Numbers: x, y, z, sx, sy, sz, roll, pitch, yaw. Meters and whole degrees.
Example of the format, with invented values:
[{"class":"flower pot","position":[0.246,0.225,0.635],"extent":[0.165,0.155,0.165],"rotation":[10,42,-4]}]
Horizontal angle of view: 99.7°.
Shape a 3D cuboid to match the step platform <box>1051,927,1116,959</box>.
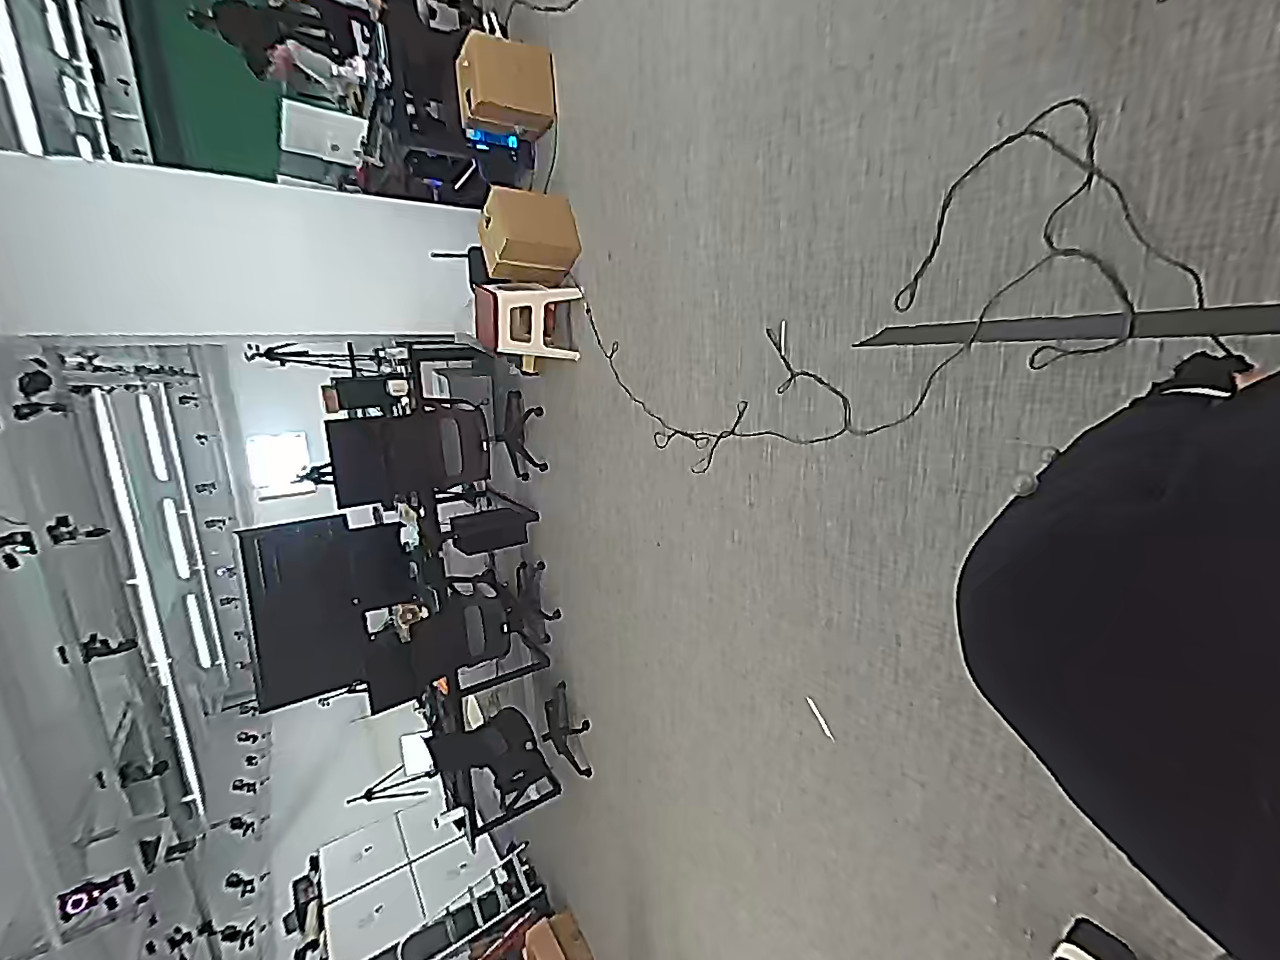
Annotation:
[{"class":"step platform","position":[1.172,1.281,1.036],"extent":[0.684,0.204,0.286],"rotation":[15,112,54]}]
